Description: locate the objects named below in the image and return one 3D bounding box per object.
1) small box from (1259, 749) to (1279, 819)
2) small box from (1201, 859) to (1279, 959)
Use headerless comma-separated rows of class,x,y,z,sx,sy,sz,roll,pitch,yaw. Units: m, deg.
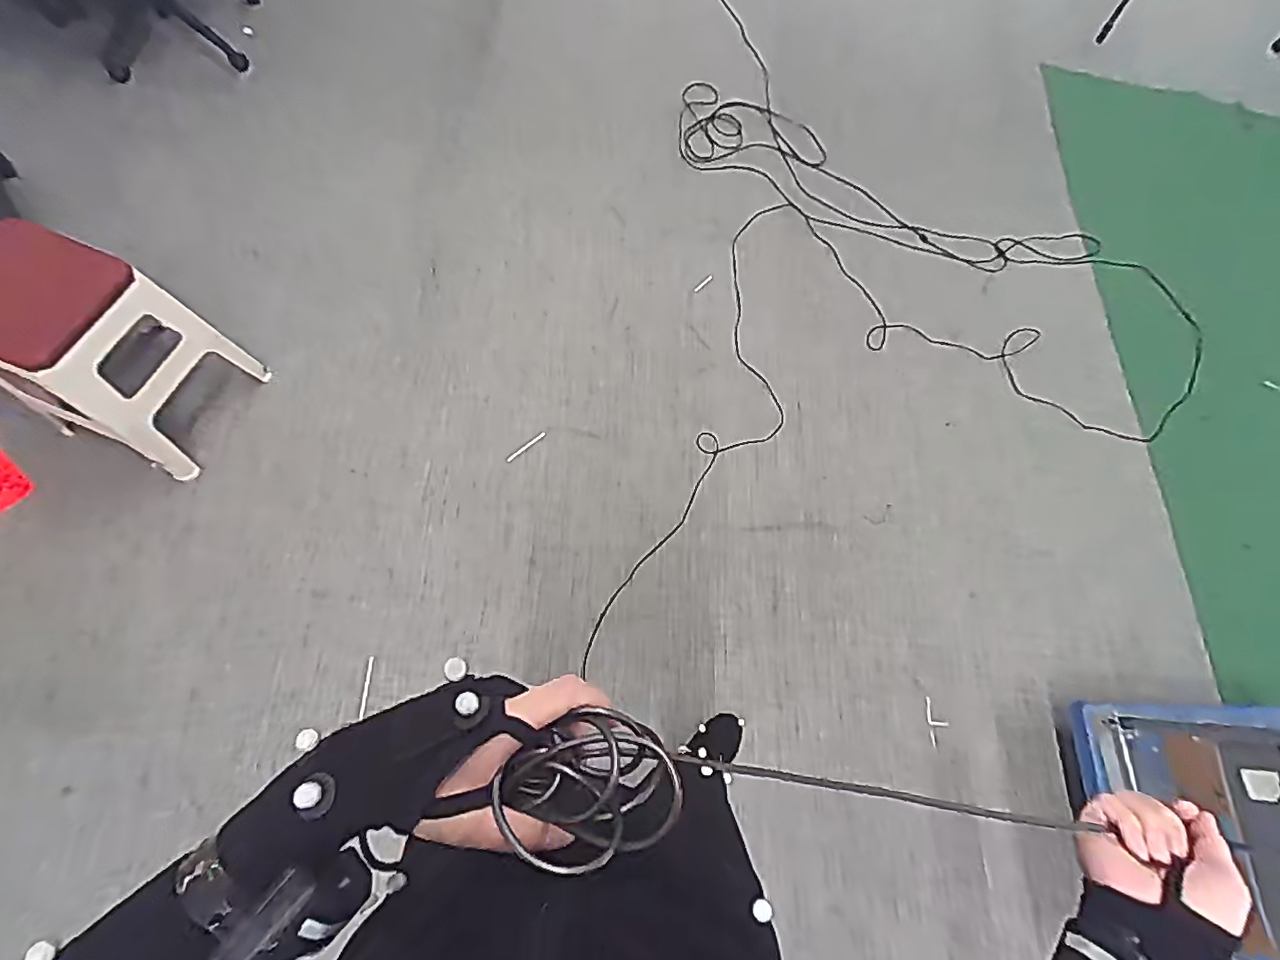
small box,1.716,0.770,1.343,0.179,0.176,0.168,1,70,-8
small box,1.456,0.984,1.228,0.179,0.176,0.168,5,69,-5
